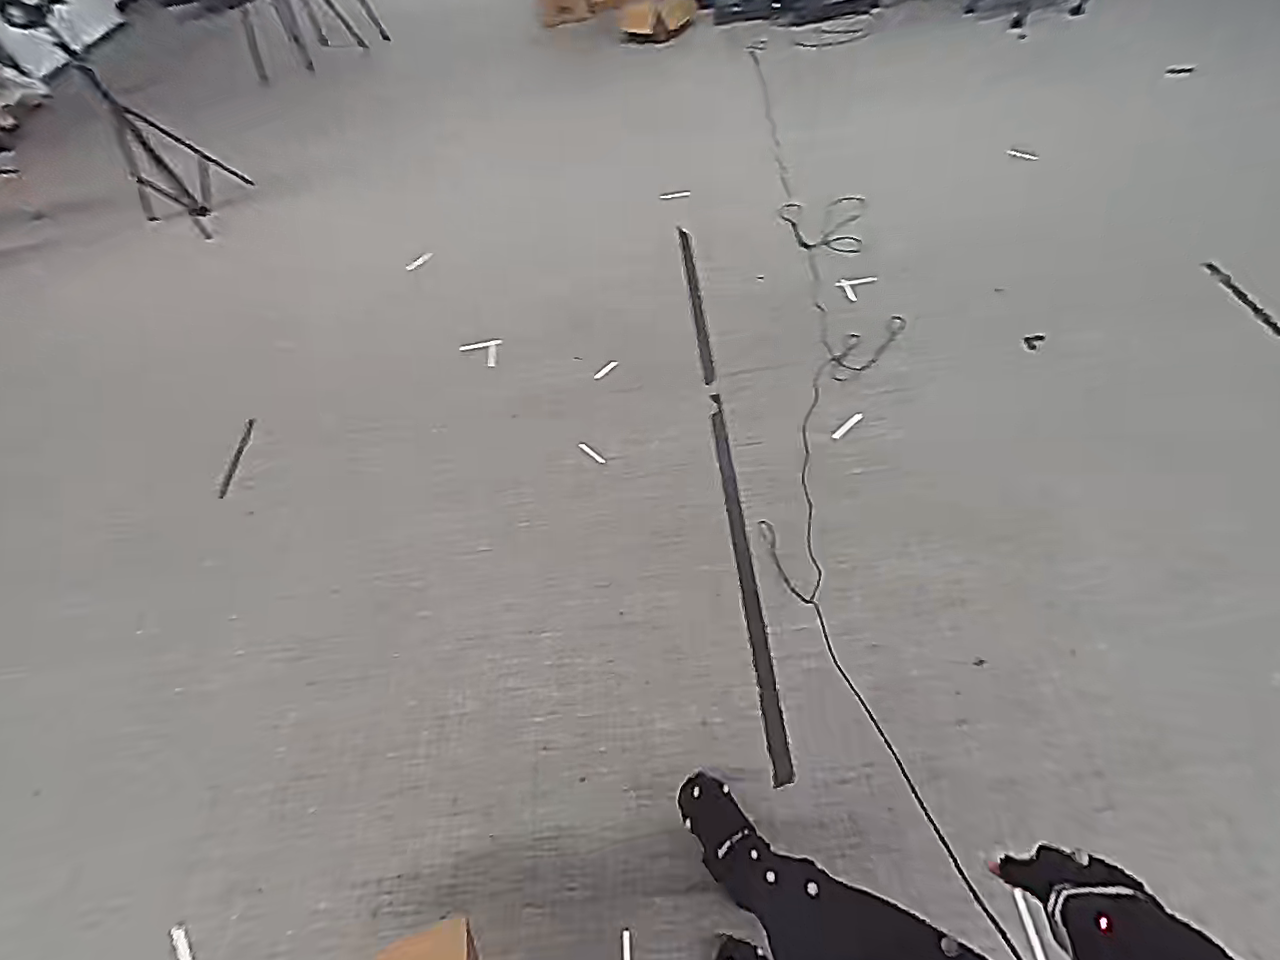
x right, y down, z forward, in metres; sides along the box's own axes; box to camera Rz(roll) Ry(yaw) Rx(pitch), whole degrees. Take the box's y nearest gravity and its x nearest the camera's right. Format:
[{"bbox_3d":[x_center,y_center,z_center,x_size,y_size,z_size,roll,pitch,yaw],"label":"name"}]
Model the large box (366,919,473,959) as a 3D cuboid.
[{"bbox_3d":[-0.311,0.835,0.595,0.320,0.408,0.320,-14,93,-19],"label":"large box"}]
